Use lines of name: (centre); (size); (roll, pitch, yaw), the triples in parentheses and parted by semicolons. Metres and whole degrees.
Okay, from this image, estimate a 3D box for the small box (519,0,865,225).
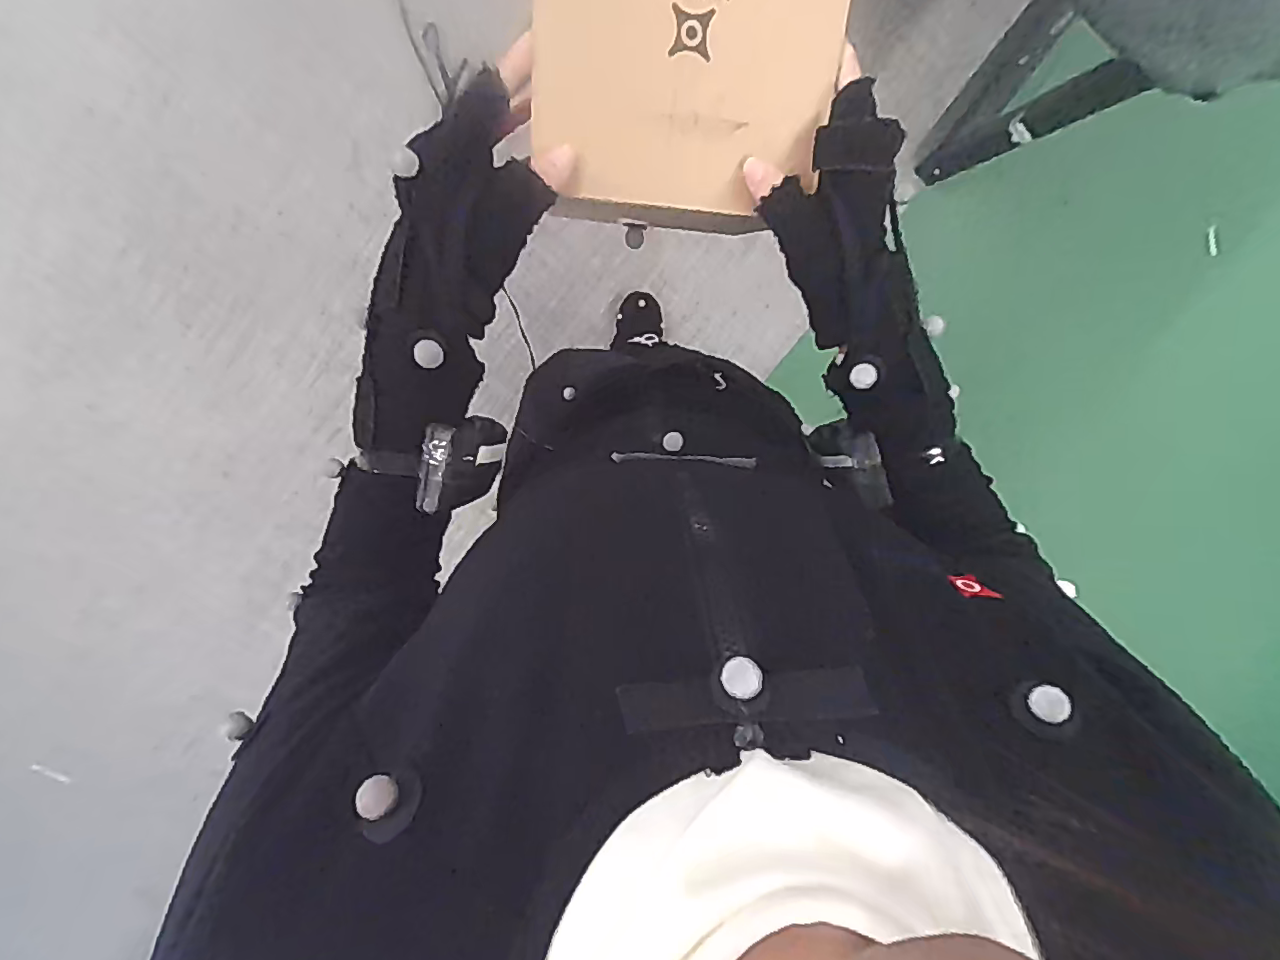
small box: (0.023, -0.266, 0.330); (0.168, 0.176, 0.179); (5, 112, -6)
